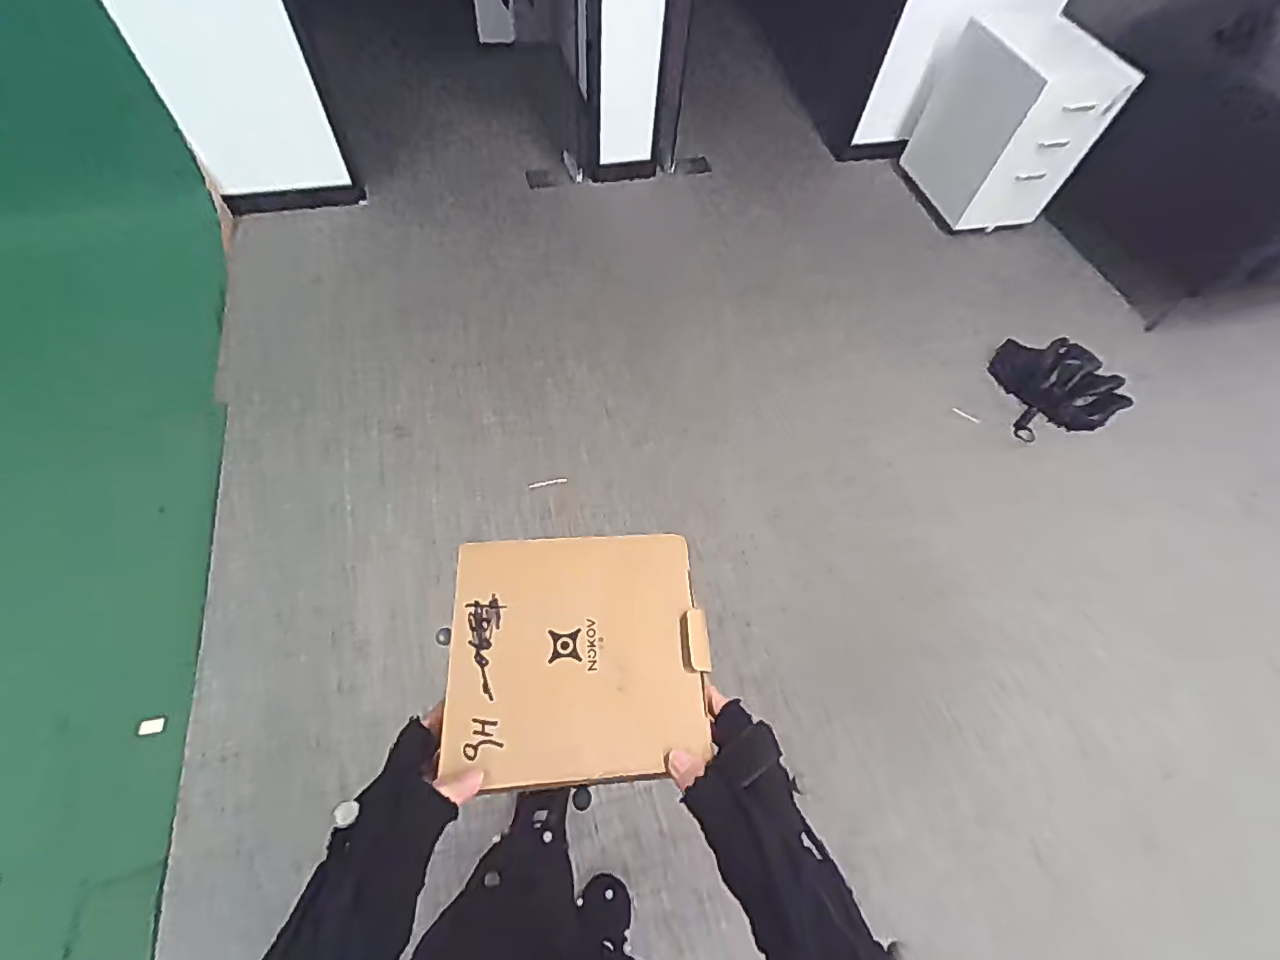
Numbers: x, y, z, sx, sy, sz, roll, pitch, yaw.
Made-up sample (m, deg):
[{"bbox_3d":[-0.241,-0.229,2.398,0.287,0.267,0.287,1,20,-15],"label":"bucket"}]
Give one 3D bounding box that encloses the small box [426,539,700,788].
[{"bbox_3d":[-0.058,0.158,0.450,0.179,0.176,0.168,0,59,-6],"label":"small box"}]
